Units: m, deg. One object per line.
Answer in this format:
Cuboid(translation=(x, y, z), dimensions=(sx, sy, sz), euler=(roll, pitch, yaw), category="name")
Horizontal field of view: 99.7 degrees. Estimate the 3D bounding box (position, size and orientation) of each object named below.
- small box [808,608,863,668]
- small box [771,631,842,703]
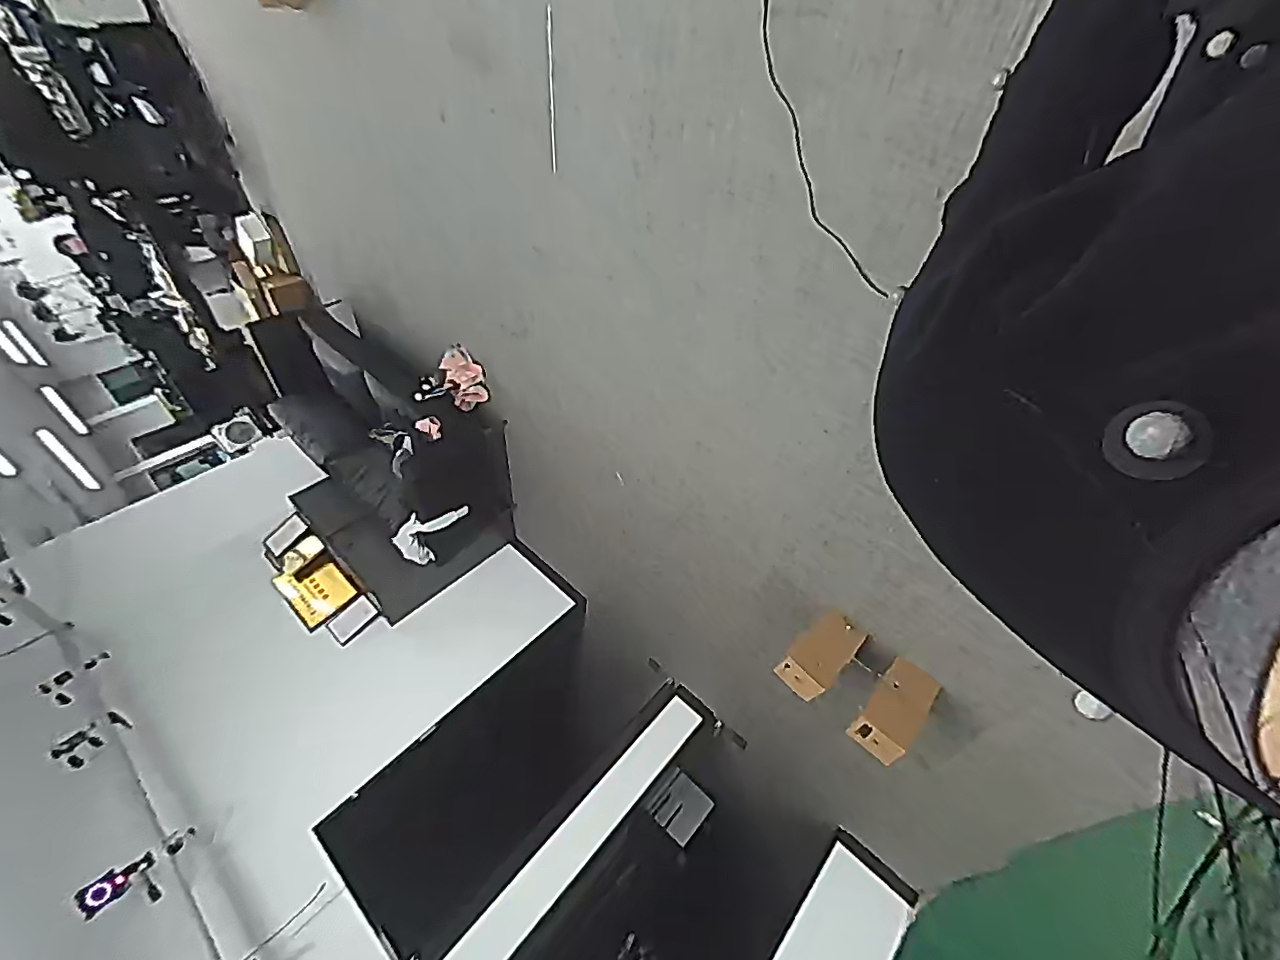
Cuboid(translation=(0.774, 0.659, 2.201), dimensions=(0.168, 0.176, 0.179), euler=(41, 144, 17), category="small box")
Cuboid(translation=(0.653, 0.728, 2.112), dimensions=(0.179, 0.176, 0.168), euler=(41, 144, 17), category="small box")
